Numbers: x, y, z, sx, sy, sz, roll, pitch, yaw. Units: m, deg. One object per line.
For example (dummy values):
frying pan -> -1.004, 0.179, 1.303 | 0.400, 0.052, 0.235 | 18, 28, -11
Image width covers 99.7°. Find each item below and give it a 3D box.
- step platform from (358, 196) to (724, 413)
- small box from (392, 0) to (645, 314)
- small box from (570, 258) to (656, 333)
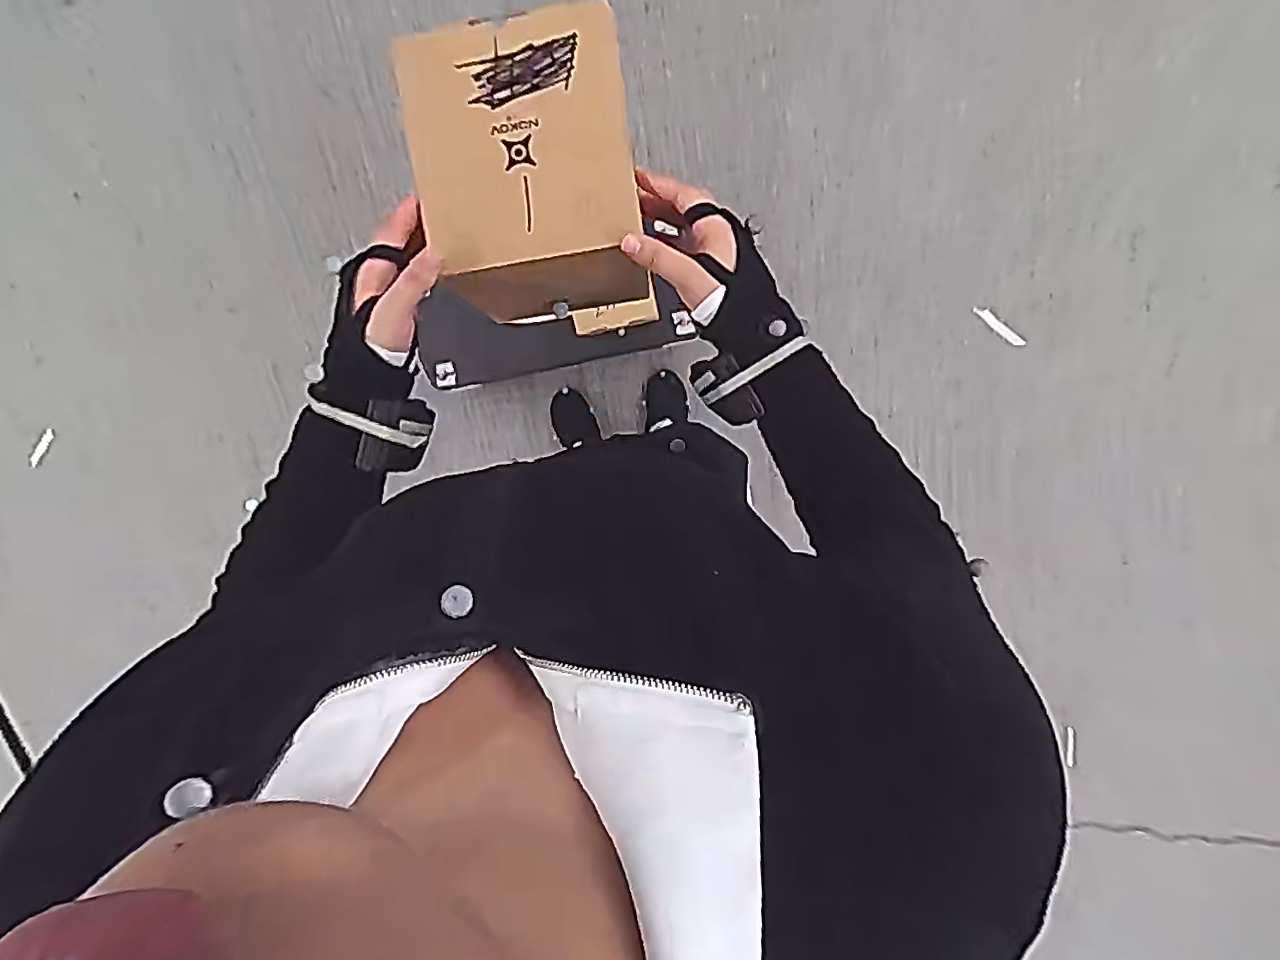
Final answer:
step platform -> -0.185, -0.340, 1.105 | 0.684, 0.204, 0.286 | -11, 103, 3
small box -> -0.087, -0.260, 0.477 | 0.168, 0.176, 0.179 | -8, 96, 3
small box -> -0.064, -0.408, 1.122 | 0.168, 0.176, 0.179 | -12, 104, 5
